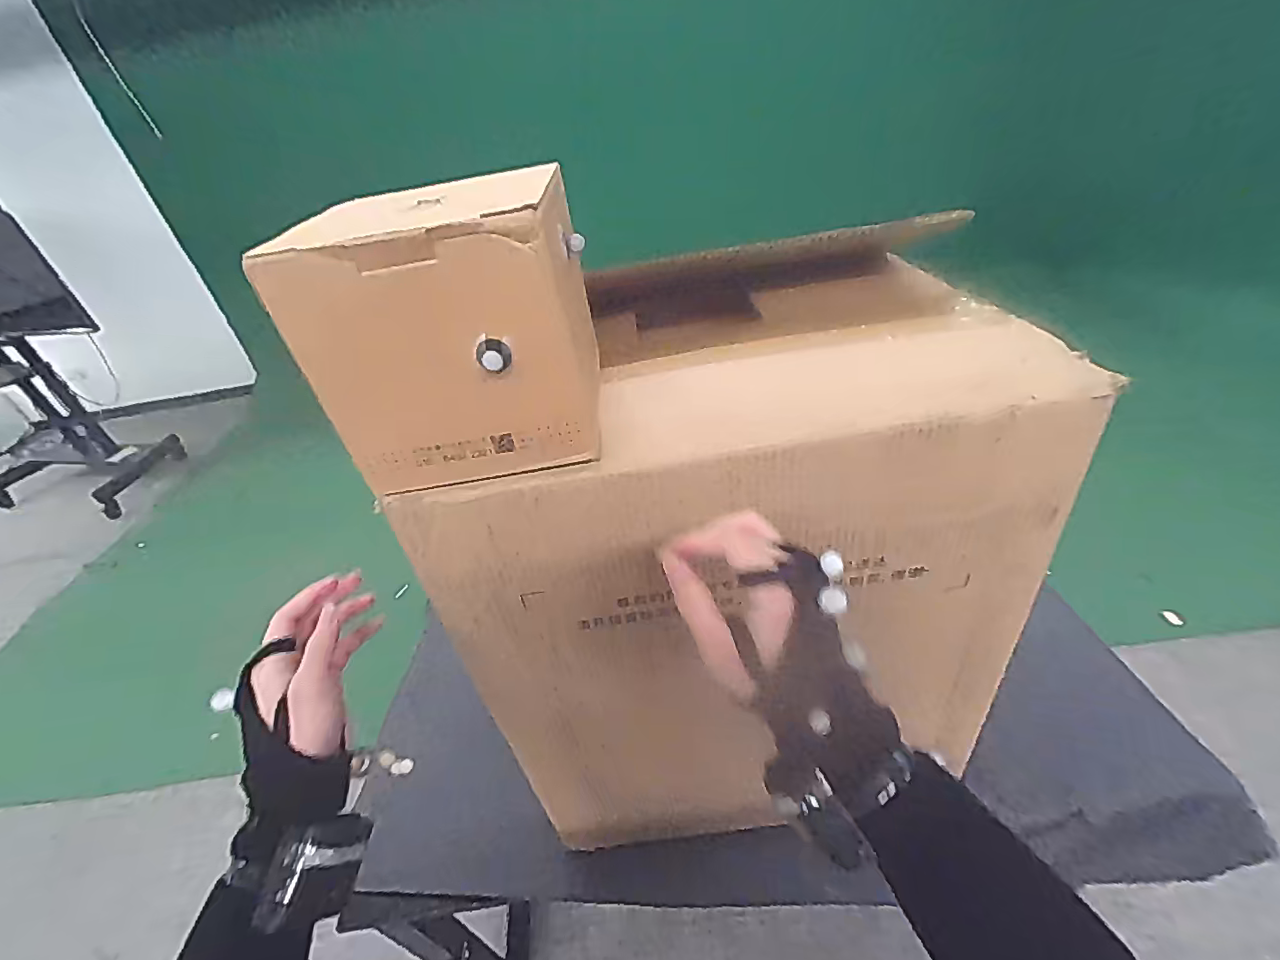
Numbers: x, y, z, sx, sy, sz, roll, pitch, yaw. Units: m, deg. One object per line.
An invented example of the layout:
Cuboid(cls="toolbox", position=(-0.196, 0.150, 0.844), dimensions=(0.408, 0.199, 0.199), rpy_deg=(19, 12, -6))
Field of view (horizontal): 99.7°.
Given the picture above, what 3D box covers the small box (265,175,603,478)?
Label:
Cuboid(cls="small box", position=(-0.124, -0.114, 0.413), dimensions=(0.168, 0.176, 0.179), rpy_deg=(-9, 34, 3))
